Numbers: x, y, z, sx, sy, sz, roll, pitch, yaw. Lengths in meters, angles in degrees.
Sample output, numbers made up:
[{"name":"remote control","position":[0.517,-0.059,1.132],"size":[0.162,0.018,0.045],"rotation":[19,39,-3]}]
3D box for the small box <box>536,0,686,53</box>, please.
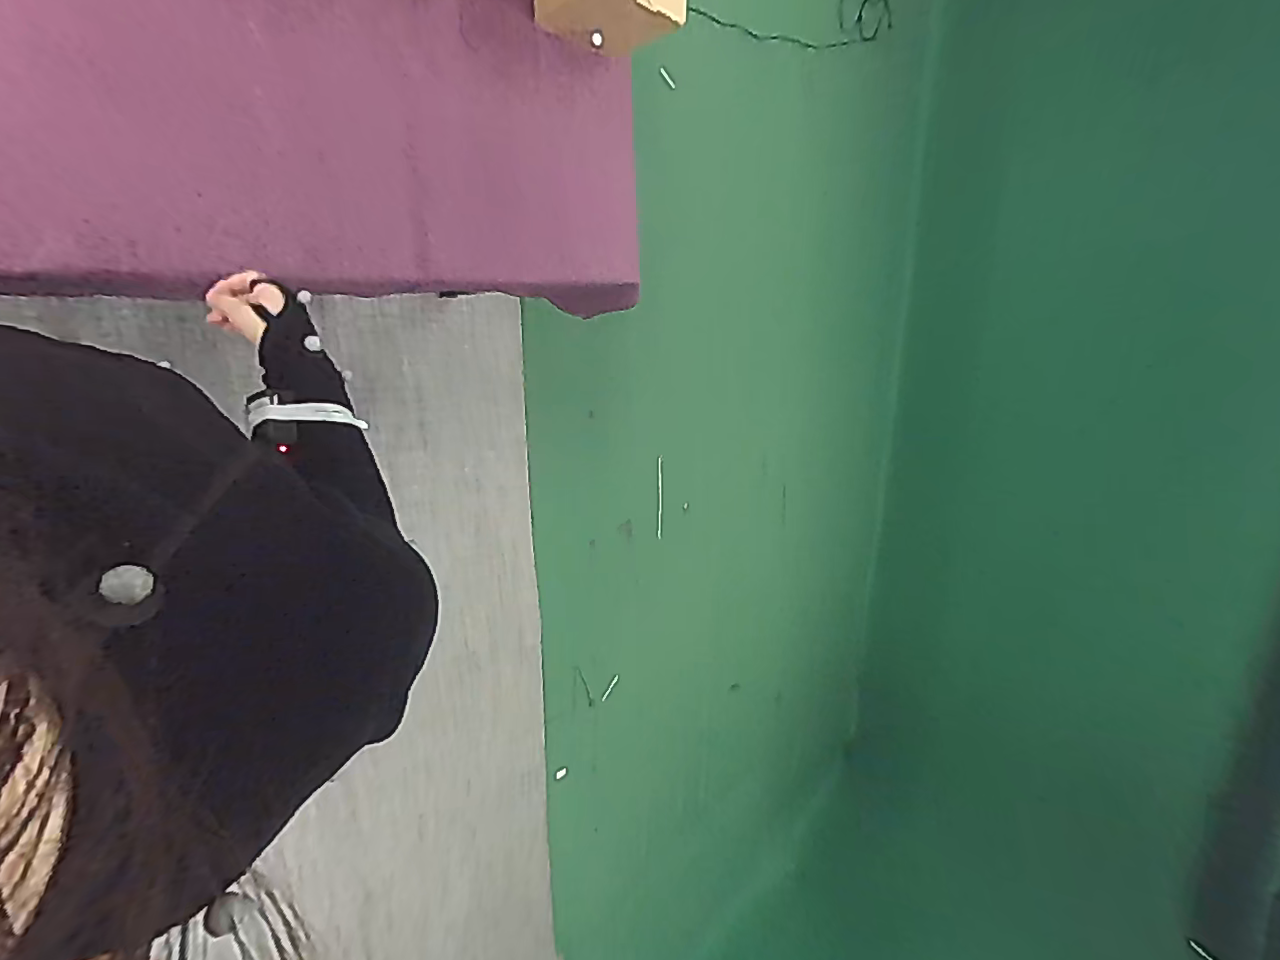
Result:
[{"name":"small box","position":[-0.045,-0.780,0.795],"size":[0.168,0.176,0.179],"rotation":[-14,113,-42]}]
